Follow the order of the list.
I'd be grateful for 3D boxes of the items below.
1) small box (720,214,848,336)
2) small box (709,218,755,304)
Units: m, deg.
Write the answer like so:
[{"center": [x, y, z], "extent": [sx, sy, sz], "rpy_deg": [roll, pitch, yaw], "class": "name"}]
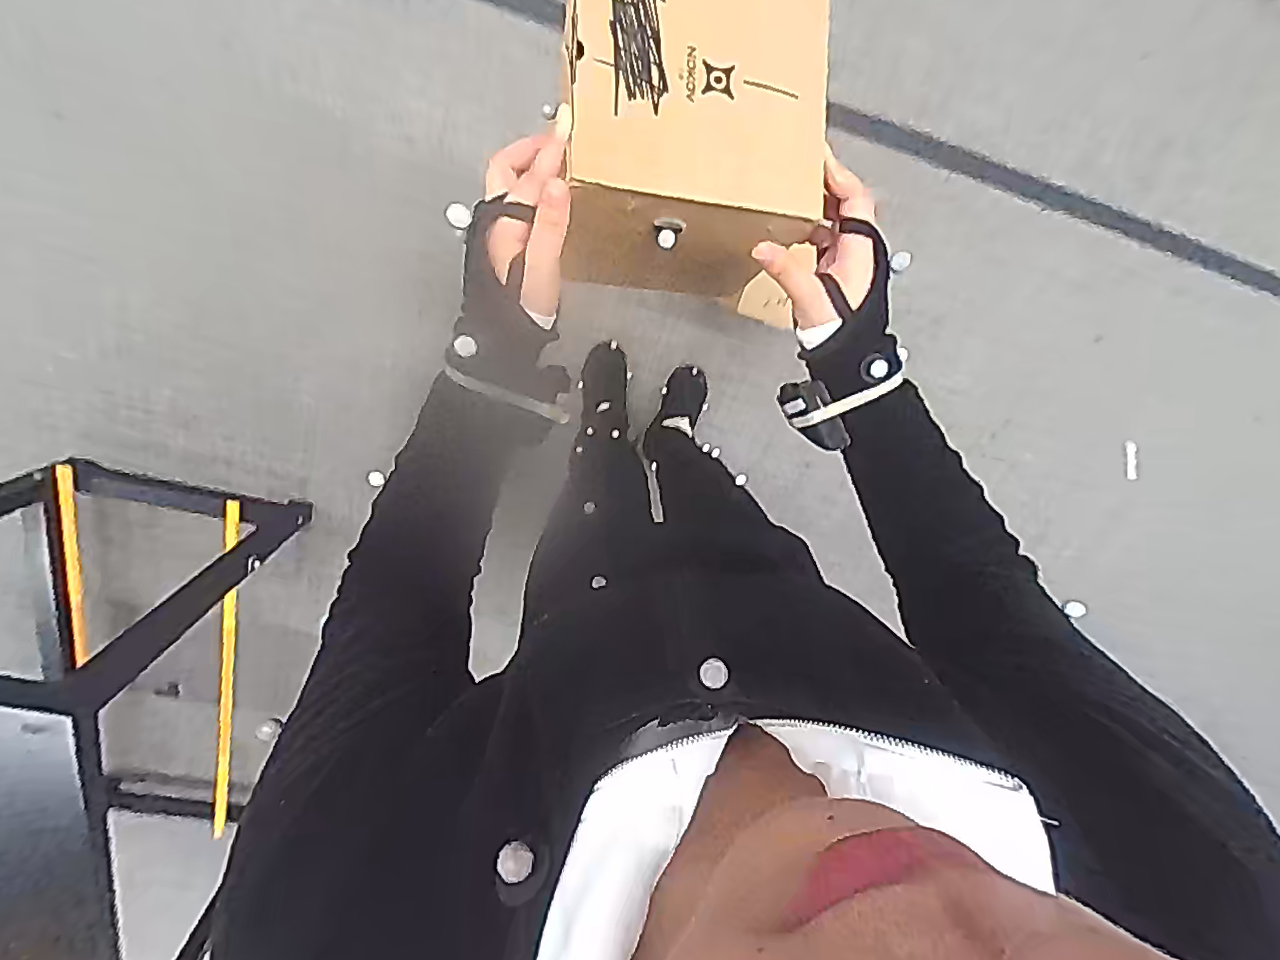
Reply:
[{"center": [0.272, -0.405, 1.073], "extent": [0.168, 0.176, 0.179], "rpy_deg": [15, 111, -10], "class": "small box"}, {"center": [0.265, -0.473, 1.224], "extent": [0.168, 0.176, 0.179], "rpy_deg": [14, 111, -10], "class": "small box"}]
